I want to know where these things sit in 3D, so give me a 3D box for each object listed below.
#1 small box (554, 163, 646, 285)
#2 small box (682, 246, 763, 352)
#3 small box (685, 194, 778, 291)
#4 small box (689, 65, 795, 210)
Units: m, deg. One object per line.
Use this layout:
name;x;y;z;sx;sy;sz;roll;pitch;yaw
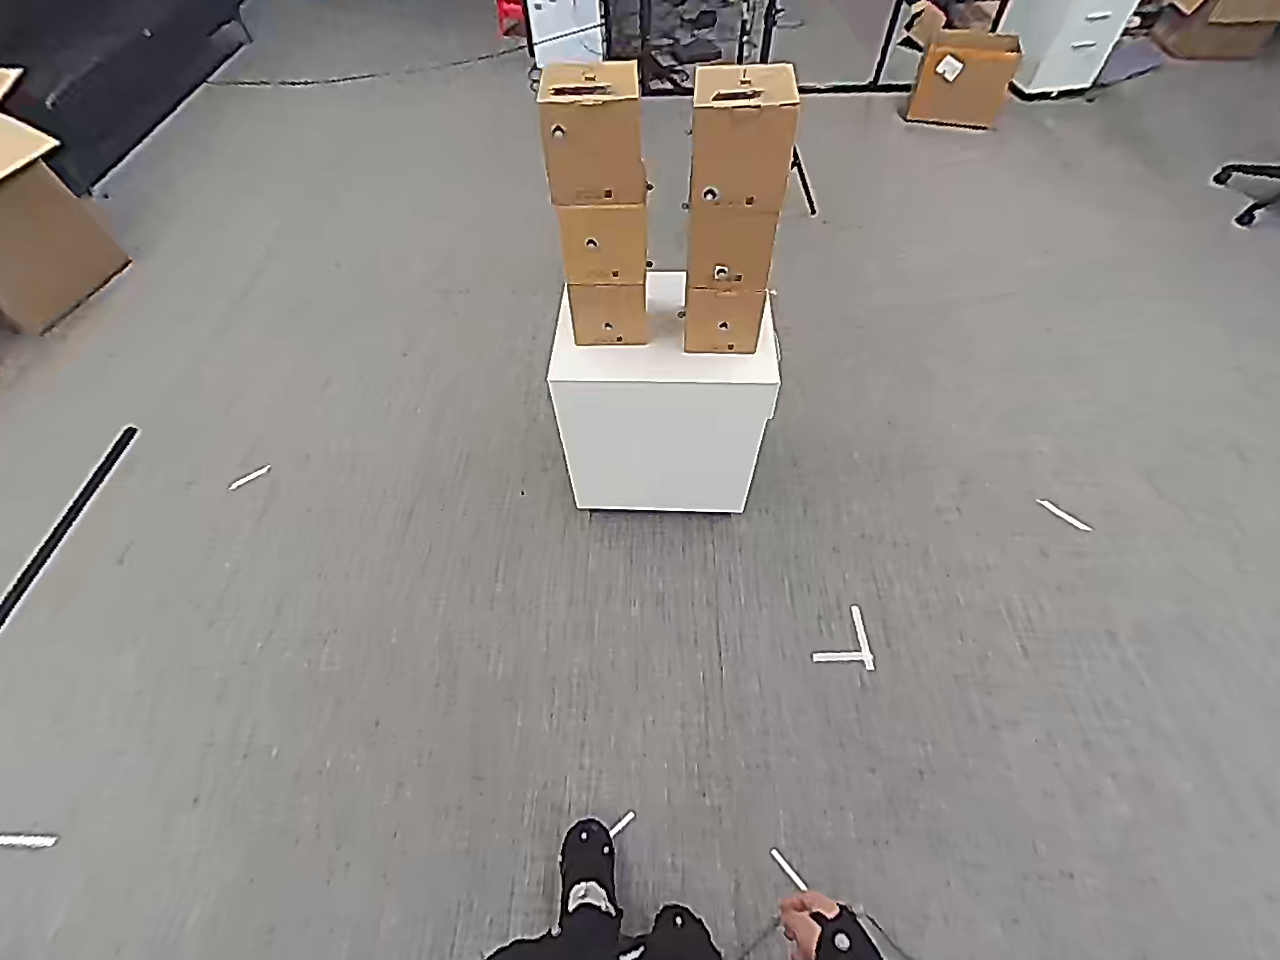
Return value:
small box;-0.073;-0.517;1.102;0.168;0.176;0.179;0;55;1
small box;0.181;-0.405;1.216;0.168;0.176;0.179;1;57;4
small box;0.176;-0.504;1.087;0.168;0.176;0.179;1;56;4
small box;0.172;-0.595;0.949;0.168;0.176;0.179;2;54;5
